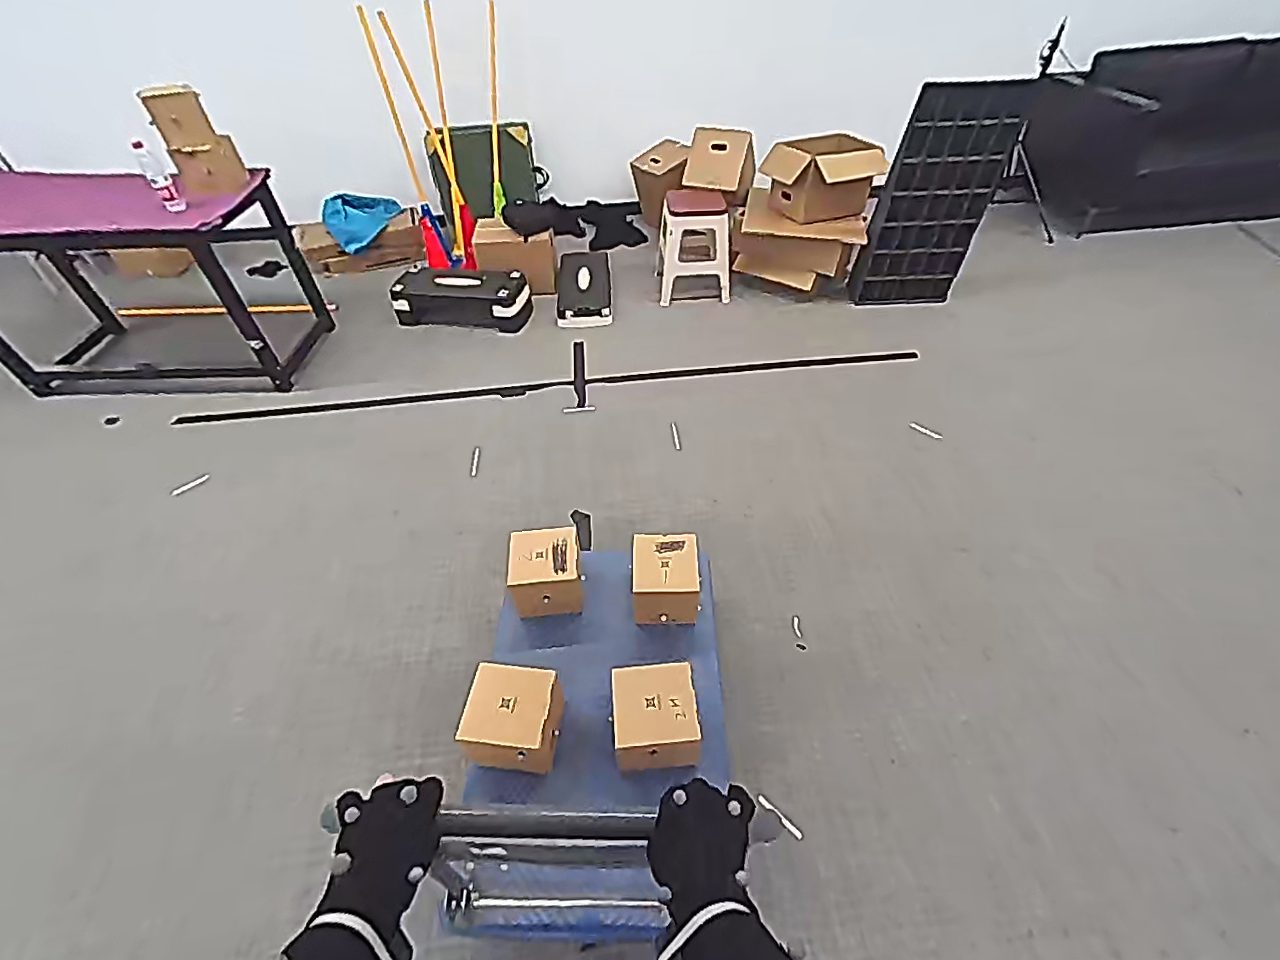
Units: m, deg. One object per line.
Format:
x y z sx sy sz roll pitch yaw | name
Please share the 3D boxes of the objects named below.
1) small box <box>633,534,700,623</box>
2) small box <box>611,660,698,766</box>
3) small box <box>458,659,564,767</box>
0.067 0.261 1.435 0.168 0.176 0.179 0 48 1 | small box
0.030 0.519 1.196 0.179 0.176 0.168 -4 47 -2 | small box
-0.276 0.521 1.202 0.179 0.176 0.168 5 47 4 | small box
